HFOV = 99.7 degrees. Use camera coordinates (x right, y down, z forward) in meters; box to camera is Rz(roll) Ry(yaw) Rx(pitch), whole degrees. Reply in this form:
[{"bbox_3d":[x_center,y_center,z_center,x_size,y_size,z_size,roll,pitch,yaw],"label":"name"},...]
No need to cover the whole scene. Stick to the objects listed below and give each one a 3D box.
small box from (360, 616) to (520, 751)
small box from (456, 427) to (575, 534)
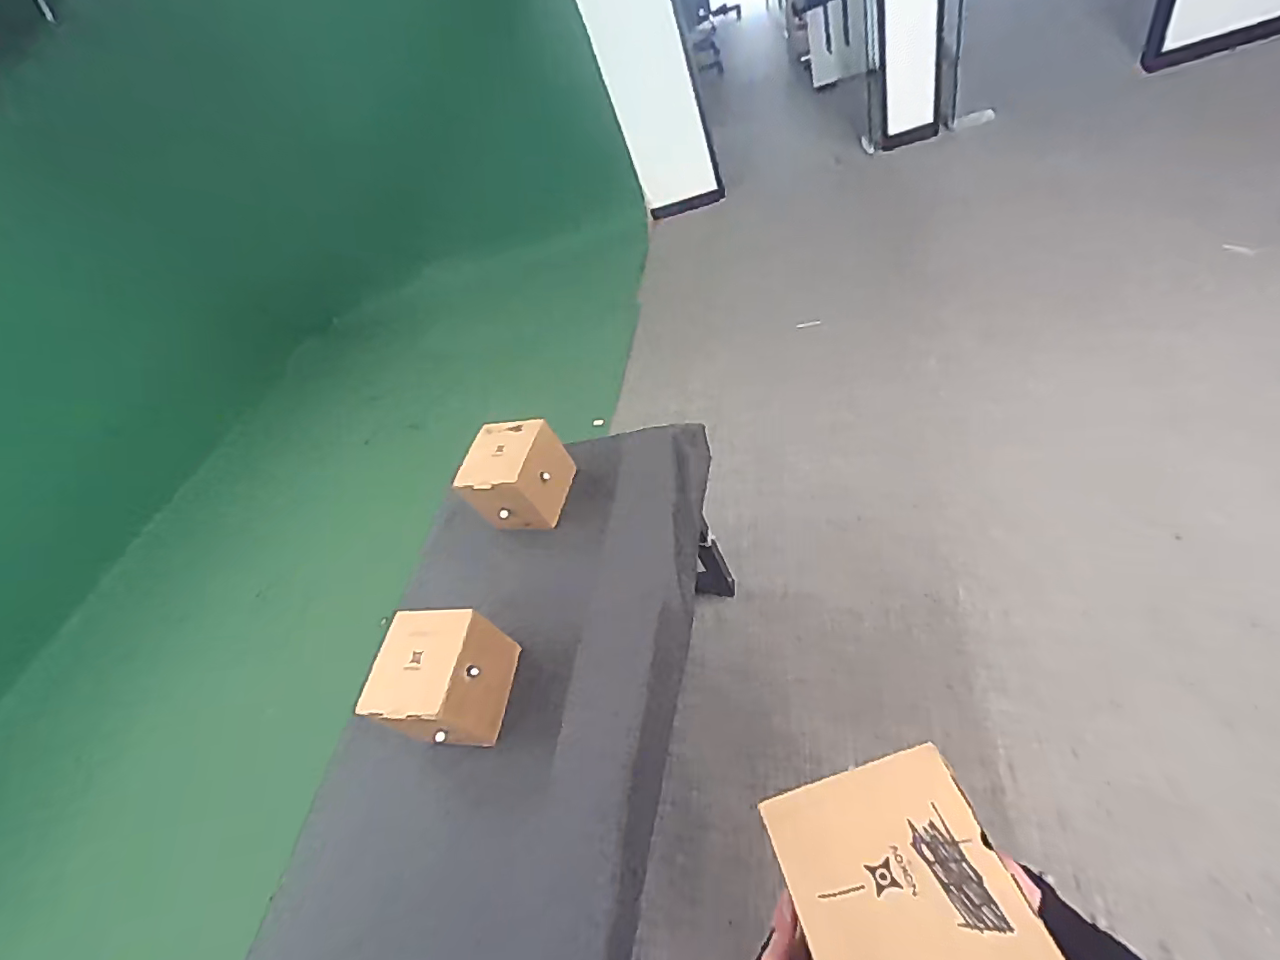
[{"bbox_3d":[-0.330,0.353,0.932,0.168,0.176,0.179,-7,48,20],"label":"small box"},{"bbox_3d":[-0.264,0.008,1.191,0.168,0.176,0.179,-2,52,24],"label":"small box"}]
